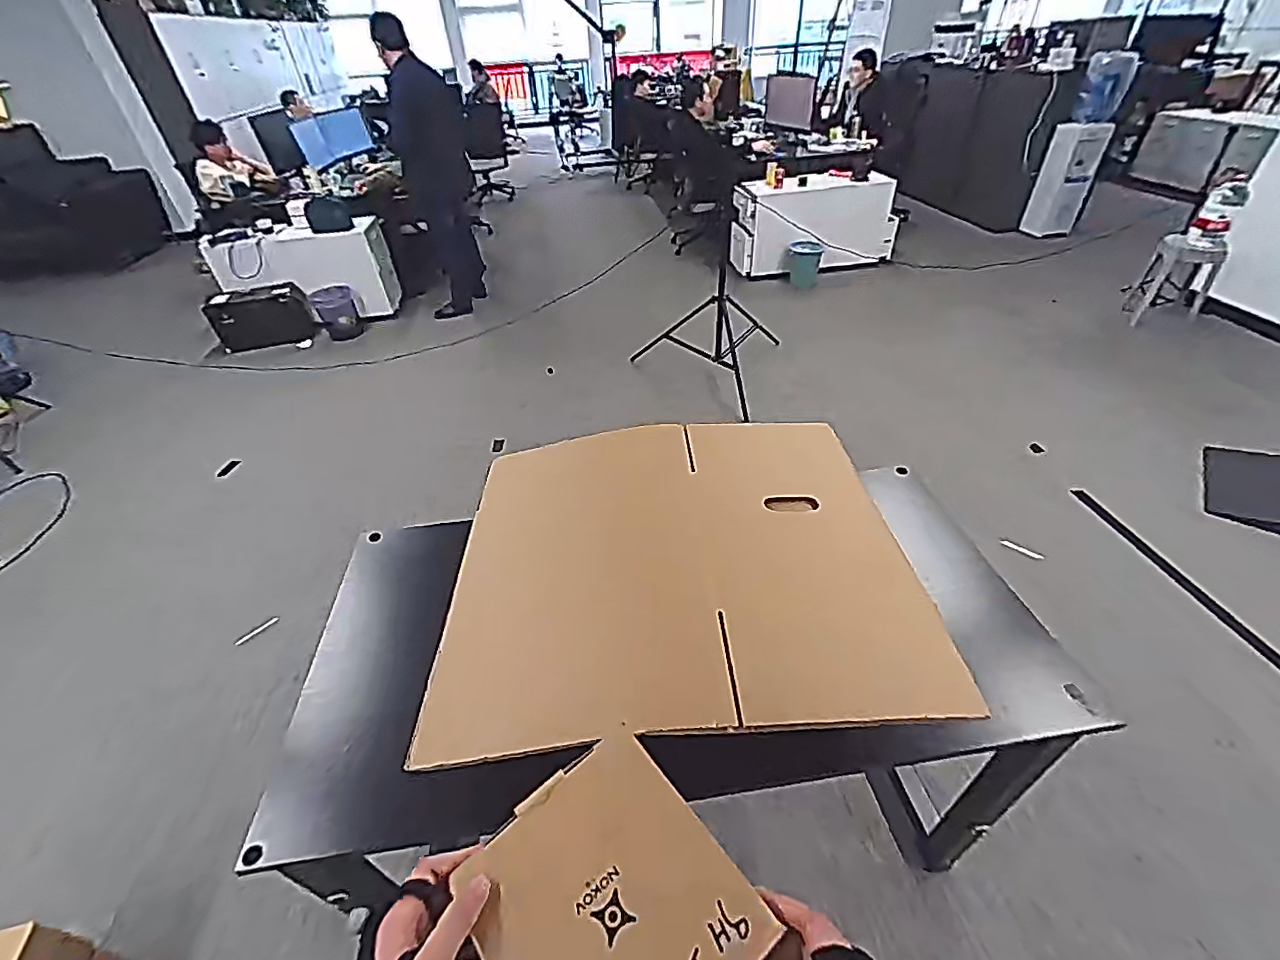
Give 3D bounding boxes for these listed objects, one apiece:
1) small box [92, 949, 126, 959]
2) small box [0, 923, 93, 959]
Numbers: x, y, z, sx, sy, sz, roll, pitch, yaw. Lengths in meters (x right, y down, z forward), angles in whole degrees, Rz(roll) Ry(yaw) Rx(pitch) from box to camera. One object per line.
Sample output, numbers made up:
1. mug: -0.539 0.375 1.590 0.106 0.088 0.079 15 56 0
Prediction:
1. small box: -1.138 1.068 1.060 0.168 0.176 0.179 -10 41 -7
2. small box: -1.150 0.940 0.962 0.168 0.176 0.179 -11 39 -11
